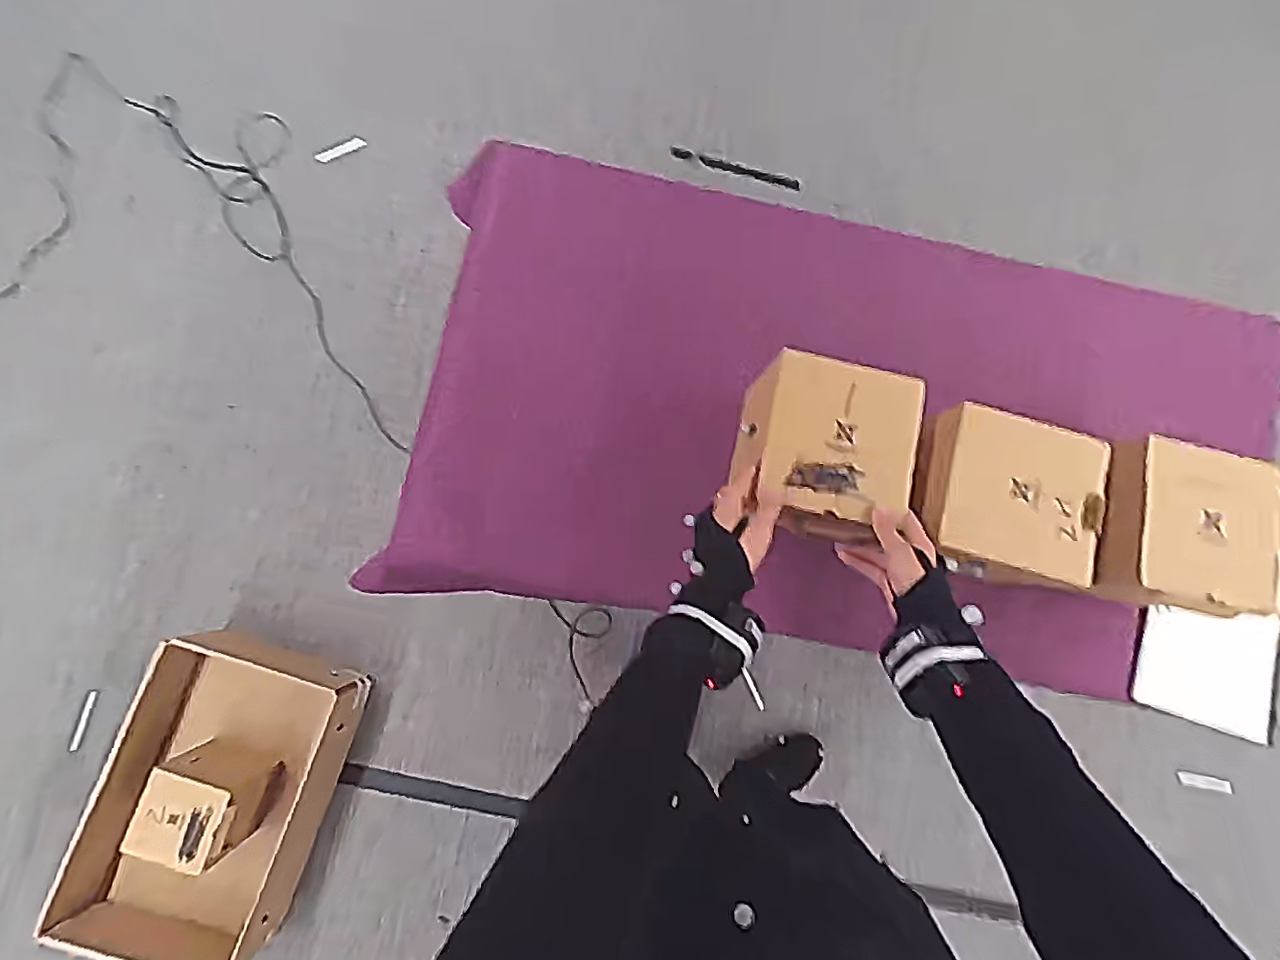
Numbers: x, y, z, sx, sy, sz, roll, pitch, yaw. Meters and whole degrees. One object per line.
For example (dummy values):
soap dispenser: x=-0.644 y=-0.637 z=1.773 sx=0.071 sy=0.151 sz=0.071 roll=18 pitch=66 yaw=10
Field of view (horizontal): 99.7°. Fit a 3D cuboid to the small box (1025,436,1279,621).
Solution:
small box: x=0.625 y=0.064 z=0.676 sx=0.168 sy=0.176 sz=0.179 roll=14 pitch=80 yaw=-2
